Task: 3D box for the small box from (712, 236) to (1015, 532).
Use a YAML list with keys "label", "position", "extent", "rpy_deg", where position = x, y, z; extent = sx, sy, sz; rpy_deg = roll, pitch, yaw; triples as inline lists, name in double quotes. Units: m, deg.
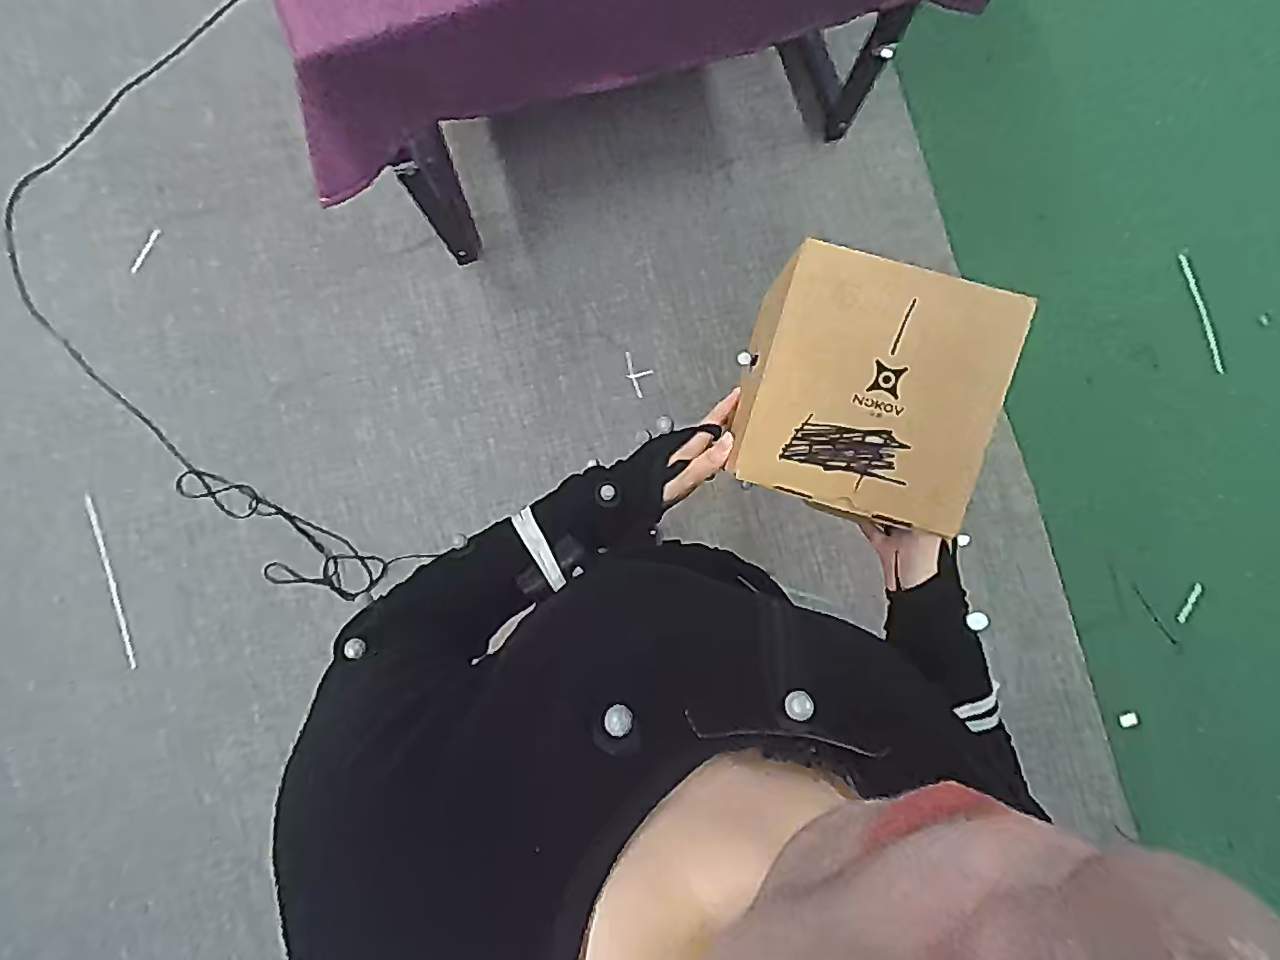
- label: "small box"
  position: [0.163, -0.073, 0.461]
  extent: [0.168, 0.176, 0.179]
  rpy_deg: [15, 96, 2]
